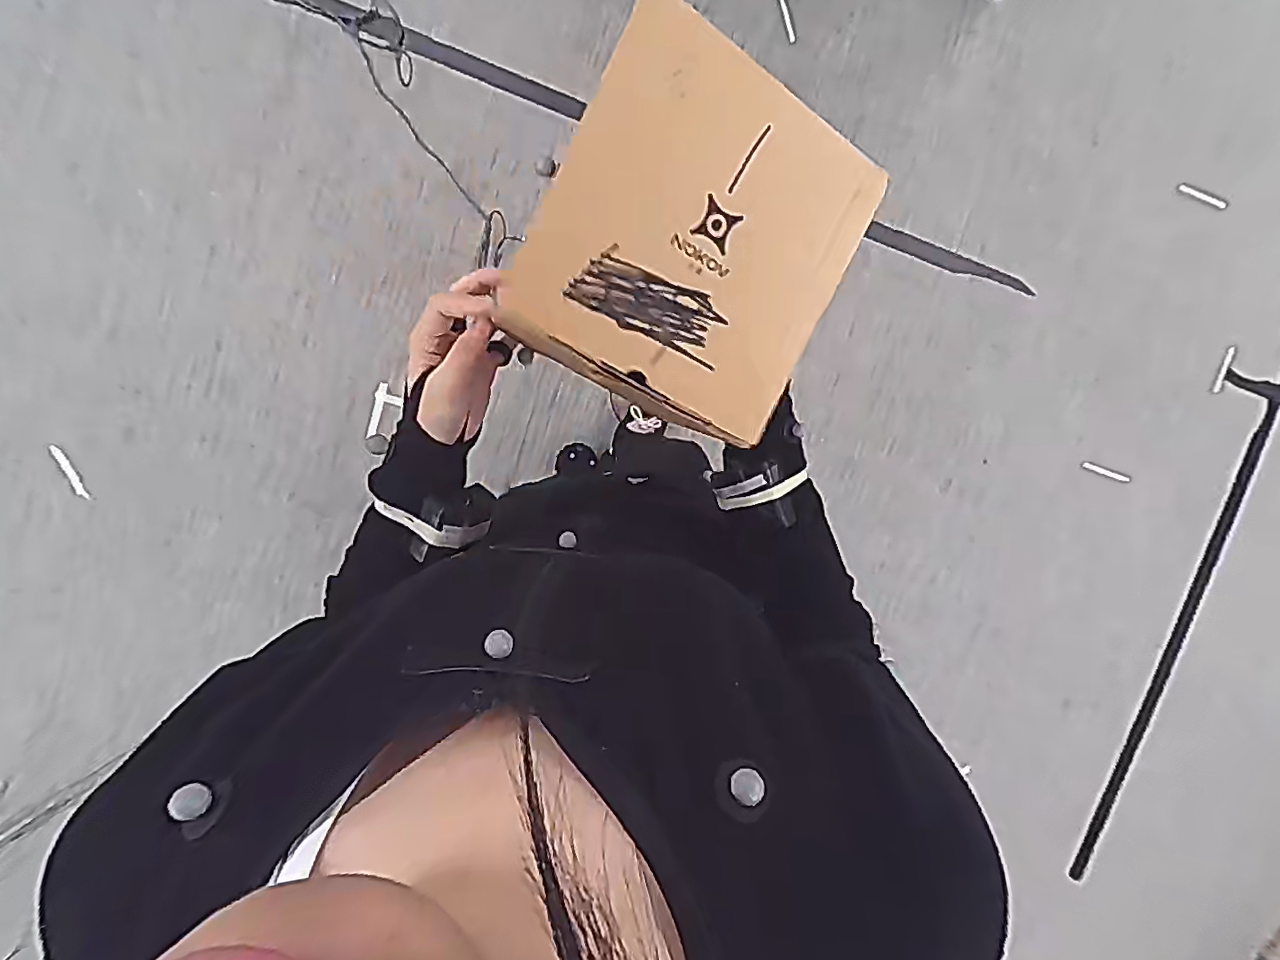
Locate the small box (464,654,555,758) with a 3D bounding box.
[{"bbox_3d":[-0.337,0.592,1.436,0.179,0.176,0.168,26,93,-7],"label":"small box"}]

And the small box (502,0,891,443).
[{"bbox_3d":[0.018,-0.145,0.364,0.168,0.176,0.179,24,94,-20],"label":"small box"}]
